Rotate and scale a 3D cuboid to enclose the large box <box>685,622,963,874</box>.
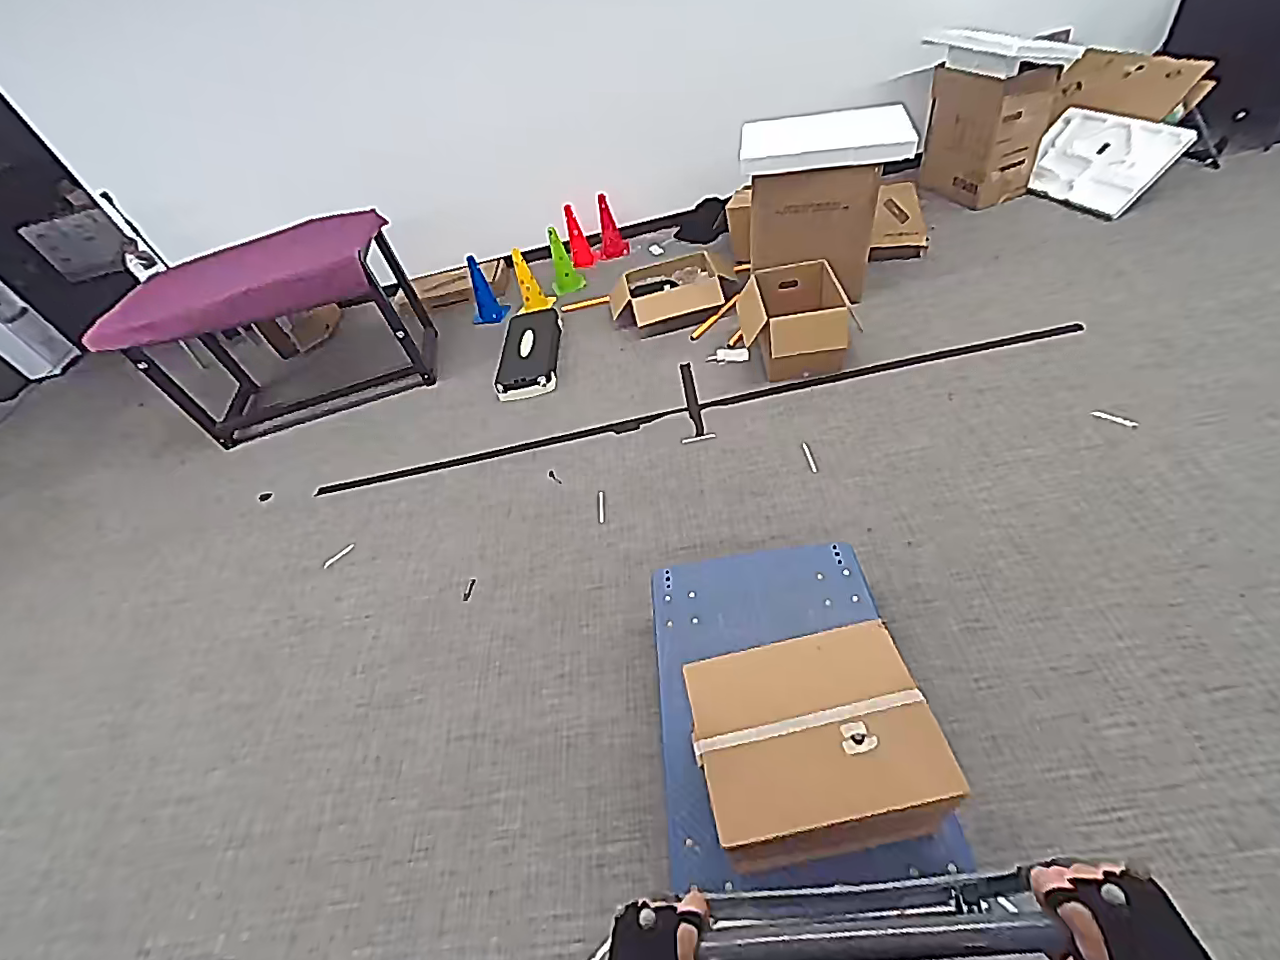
[{"bbox_3d":[0.331,0.537,1.079,0.408,0.320,0.320,-14,47,1],"label":"large box"}]
